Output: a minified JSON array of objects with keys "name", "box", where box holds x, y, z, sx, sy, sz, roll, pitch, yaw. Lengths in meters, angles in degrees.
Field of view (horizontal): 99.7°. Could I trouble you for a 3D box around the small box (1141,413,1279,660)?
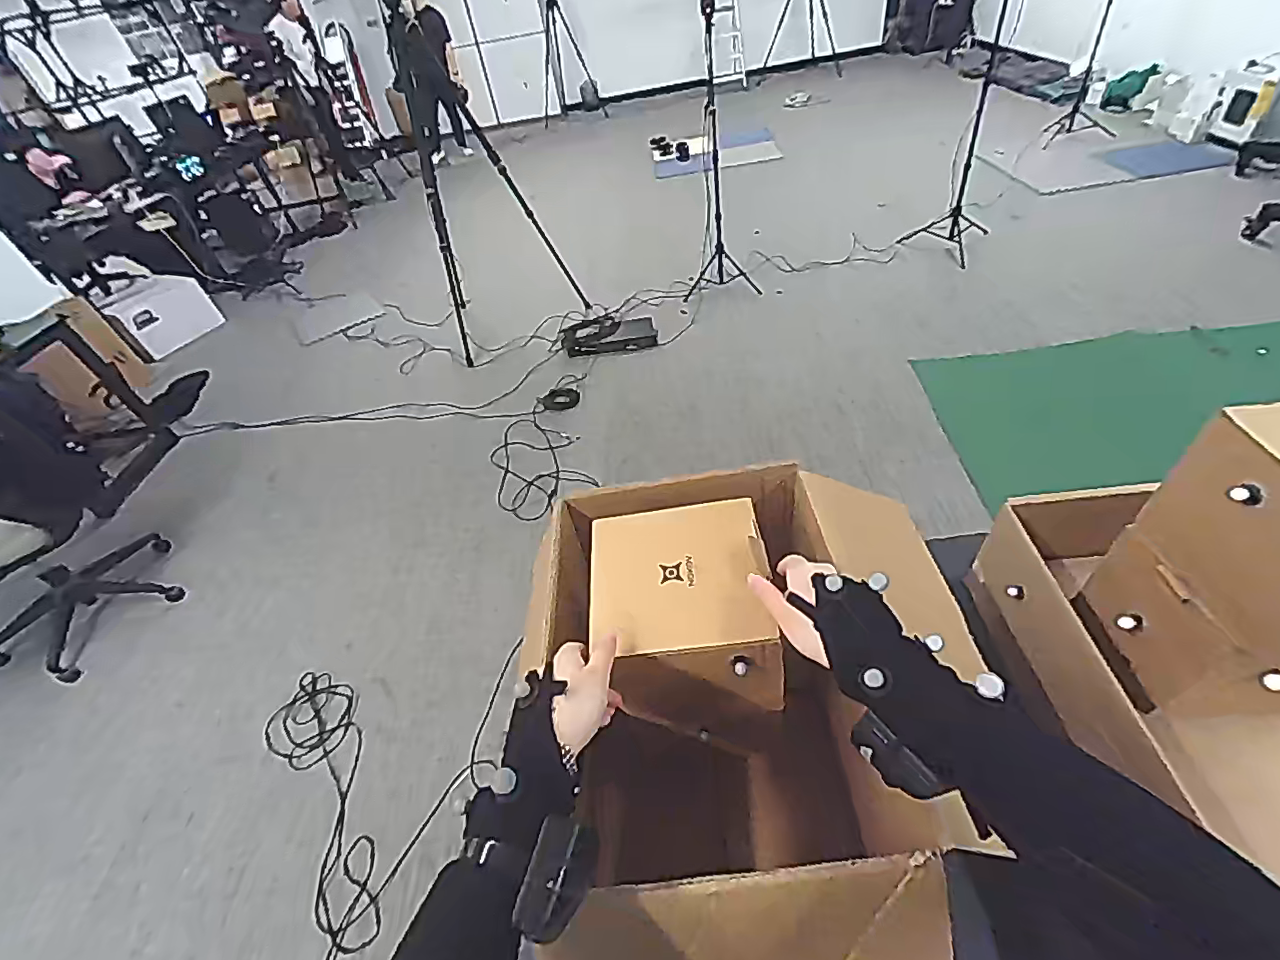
[{"name":"small box","box":[0.650,0.050,0.516,0.168,0.176,0.179,-6,46,7]}]
